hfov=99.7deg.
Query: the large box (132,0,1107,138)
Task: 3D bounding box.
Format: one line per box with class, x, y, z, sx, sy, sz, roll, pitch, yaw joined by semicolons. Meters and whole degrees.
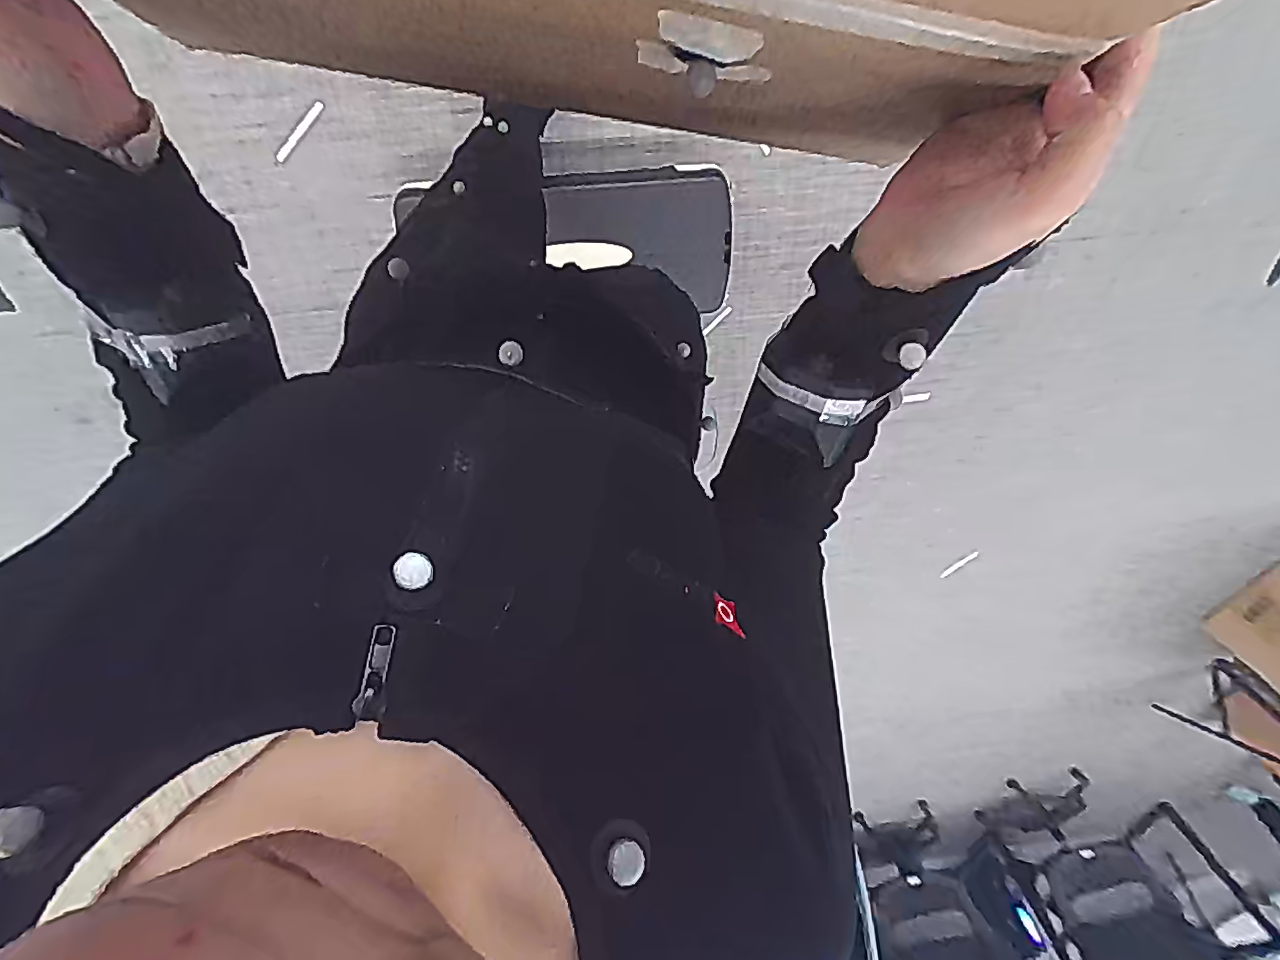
large box;-0.023;-0.327;0.126;0.408;0.320;0.320;5;107;-6
